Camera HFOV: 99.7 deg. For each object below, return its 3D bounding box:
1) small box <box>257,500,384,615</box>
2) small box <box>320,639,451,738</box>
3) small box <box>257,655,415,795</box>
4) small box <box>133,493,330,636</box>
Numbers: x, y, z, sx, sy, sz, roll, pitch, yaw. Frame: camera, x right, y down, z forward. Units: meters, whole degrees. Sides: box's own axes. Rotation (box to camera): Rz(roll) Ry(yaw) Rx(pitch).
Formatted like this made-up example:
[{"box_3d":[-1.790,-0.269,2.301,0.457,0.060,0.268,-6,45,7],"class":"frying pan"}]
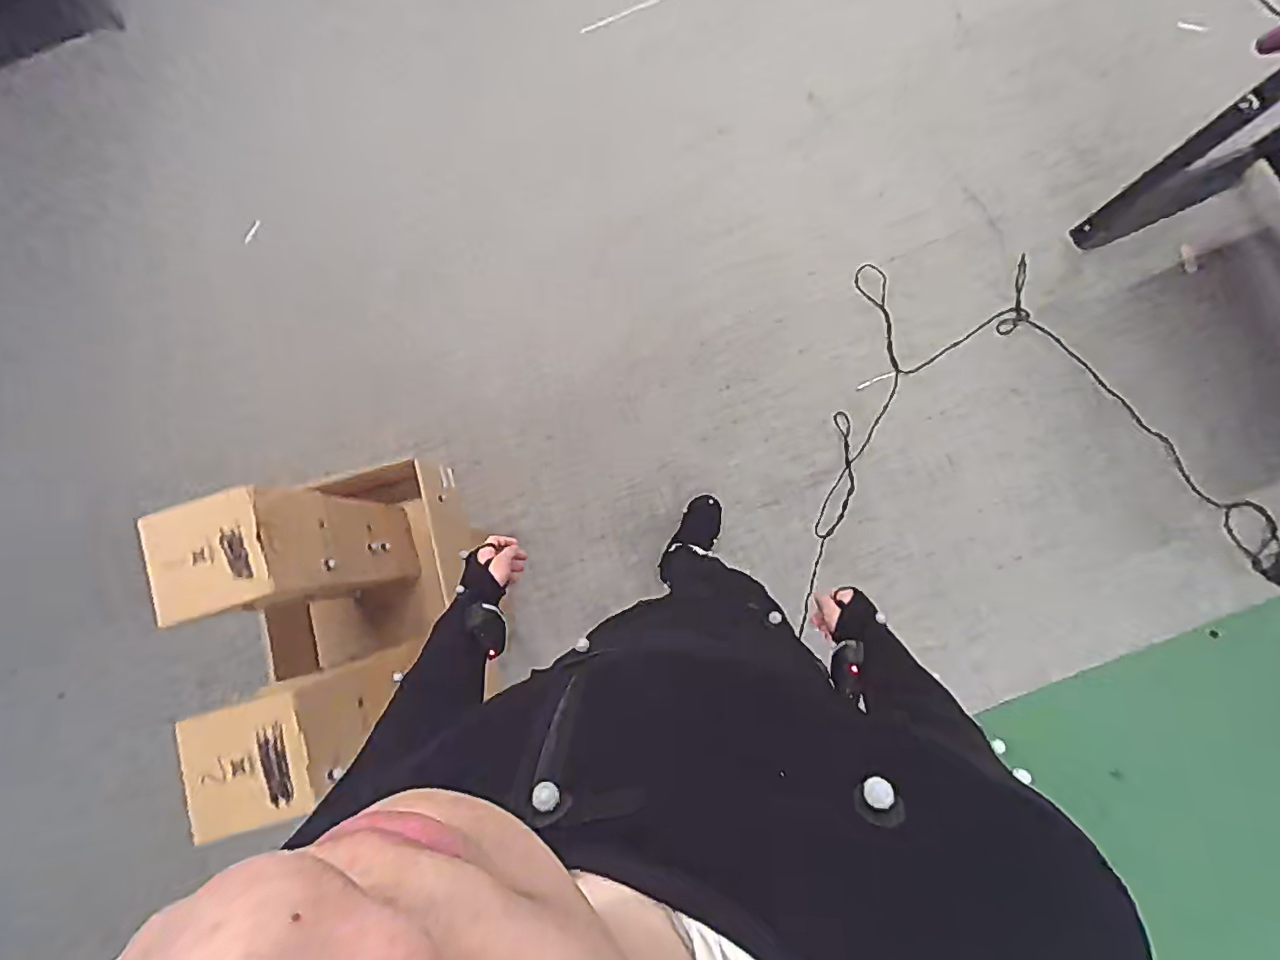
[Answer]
[{"box_3d":[-0.617,0.145,1.009,0.179,0.176,0.168,-17,83,0],"class":"small box"},{"box_3d":[-0.526,0.446,1.132,0.179,0.176,0.168,-15,84,1],"class":"small box"},{"box_3d":[-0.537,0.429,0.972,0.179,0.176,0.168,-15,82,0],"class":"small box"},{"box_3d":[-0.619,0.125,0.846,0.179,0.176,0.168,-18,84,1],"class":"small box"}]
